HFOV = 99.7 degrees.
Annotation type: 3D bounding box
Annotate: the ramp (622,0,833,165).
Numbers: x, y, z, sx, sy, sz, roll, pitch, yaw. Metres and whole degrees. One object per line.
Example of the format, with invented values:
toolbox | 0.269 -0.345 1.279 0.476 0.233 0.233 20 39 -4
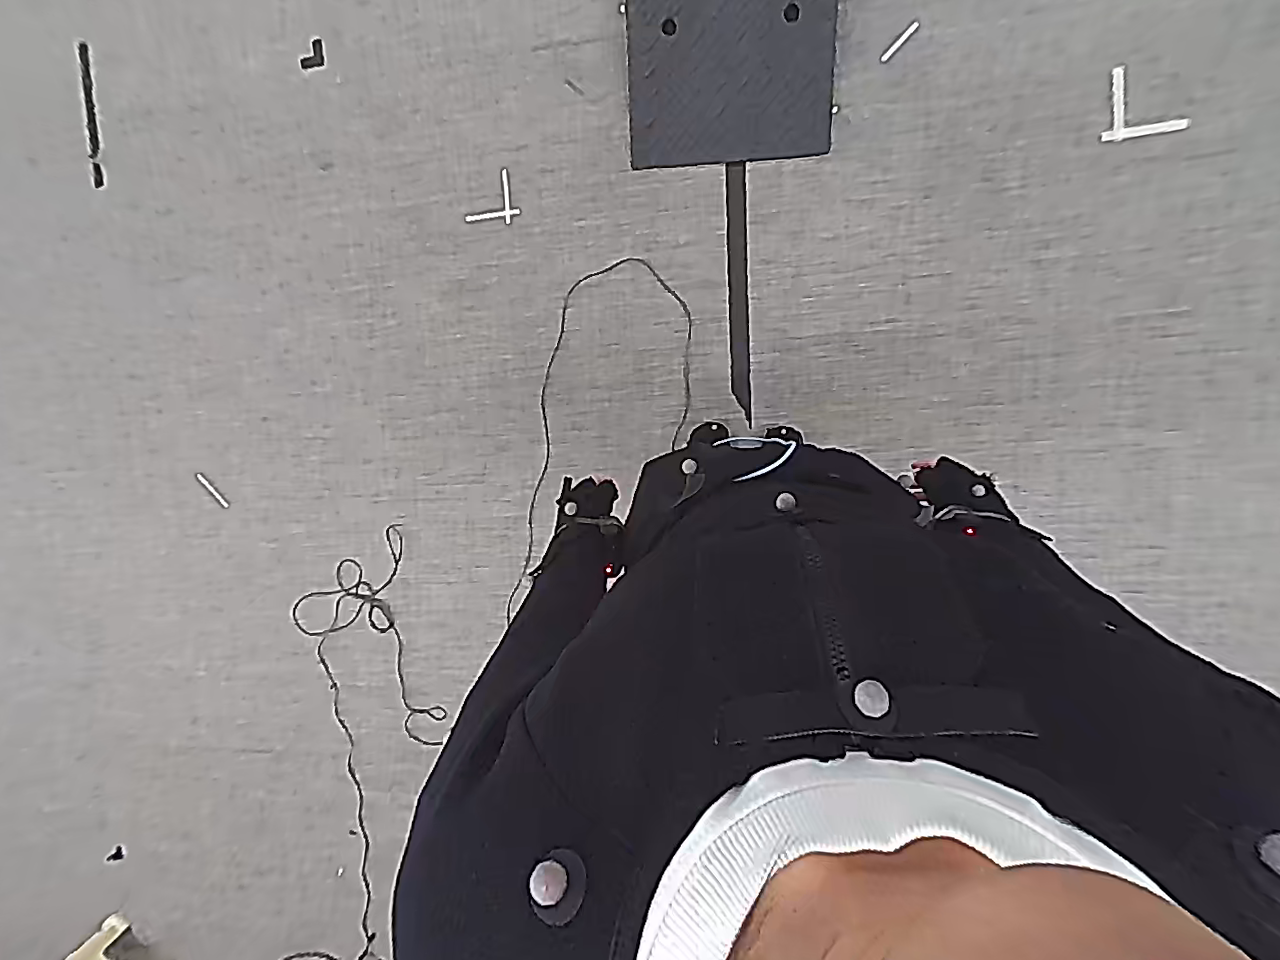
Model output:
ramp | 0.194 -1.283 1.211 0.509 0.206 0.991 -2 97 7
